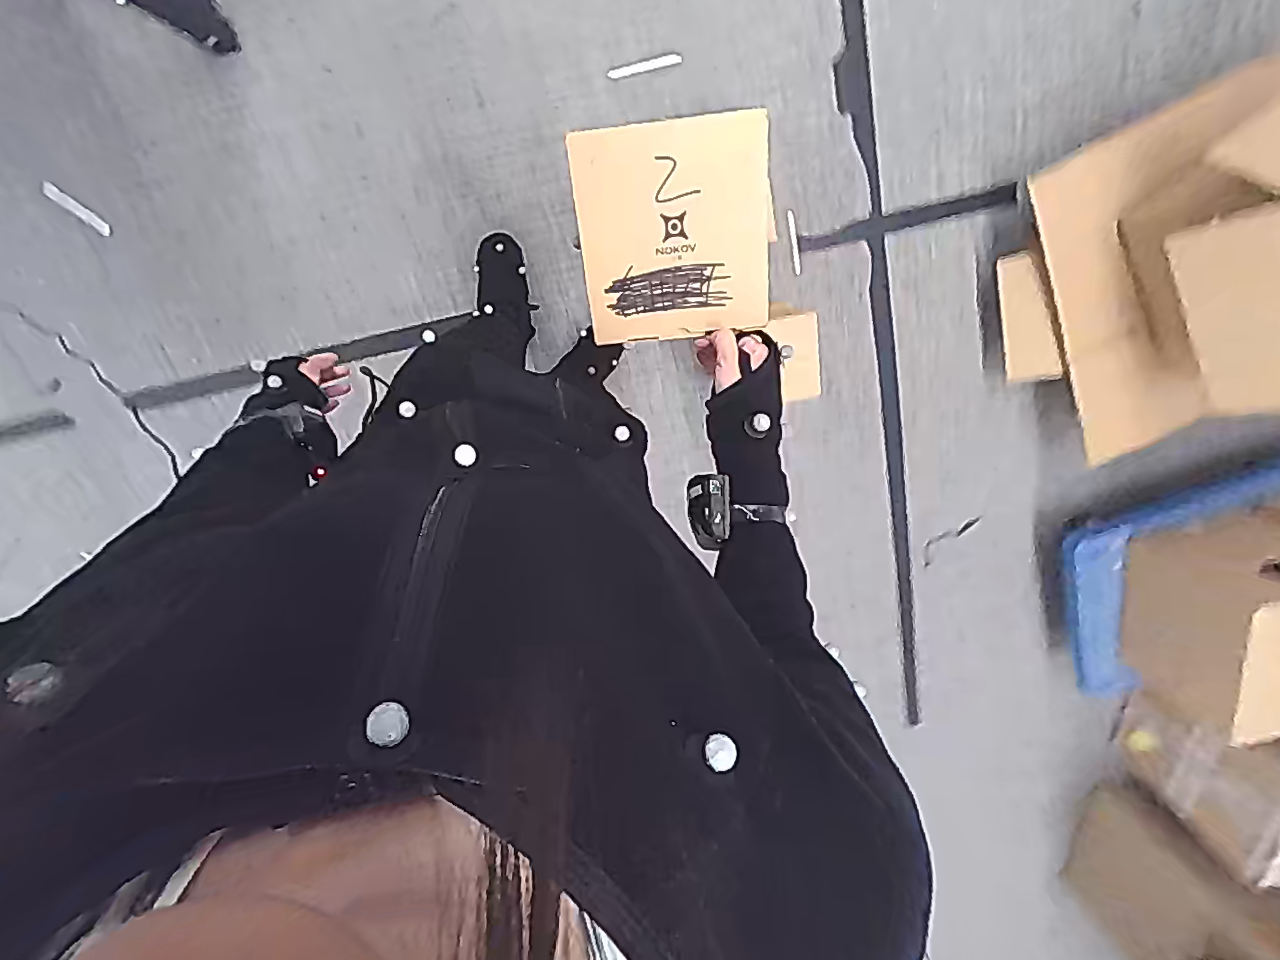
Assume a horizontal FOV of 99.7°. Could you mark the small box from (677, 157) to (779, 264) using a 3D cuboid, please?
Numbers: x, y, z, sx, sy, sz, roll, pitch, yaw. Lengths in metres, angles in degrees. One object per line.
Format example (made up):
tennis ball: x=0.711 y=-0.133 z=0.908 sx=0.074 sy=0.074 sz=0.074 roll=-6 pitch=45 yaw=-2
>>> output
small box: x=0.182 y=-0.574 z=1.171 sx=0.179 sy=0.176 sz=0.168 roll=-15 pitch=112 yaw=1

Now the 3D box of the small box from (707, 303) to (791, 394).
small box: x=0.256 y=-0.313 z=1.278 sx=0.168 sy=0.176 sz=0.179 roll=-8 pitch=112 yaw=0

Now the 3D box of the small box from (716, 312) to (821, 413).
small box: x=0.259 y=-0.249 z=1.125 sx=0.179 sy=0.176 sz=0.168 roll=-10 pitch=112 yaw=0
